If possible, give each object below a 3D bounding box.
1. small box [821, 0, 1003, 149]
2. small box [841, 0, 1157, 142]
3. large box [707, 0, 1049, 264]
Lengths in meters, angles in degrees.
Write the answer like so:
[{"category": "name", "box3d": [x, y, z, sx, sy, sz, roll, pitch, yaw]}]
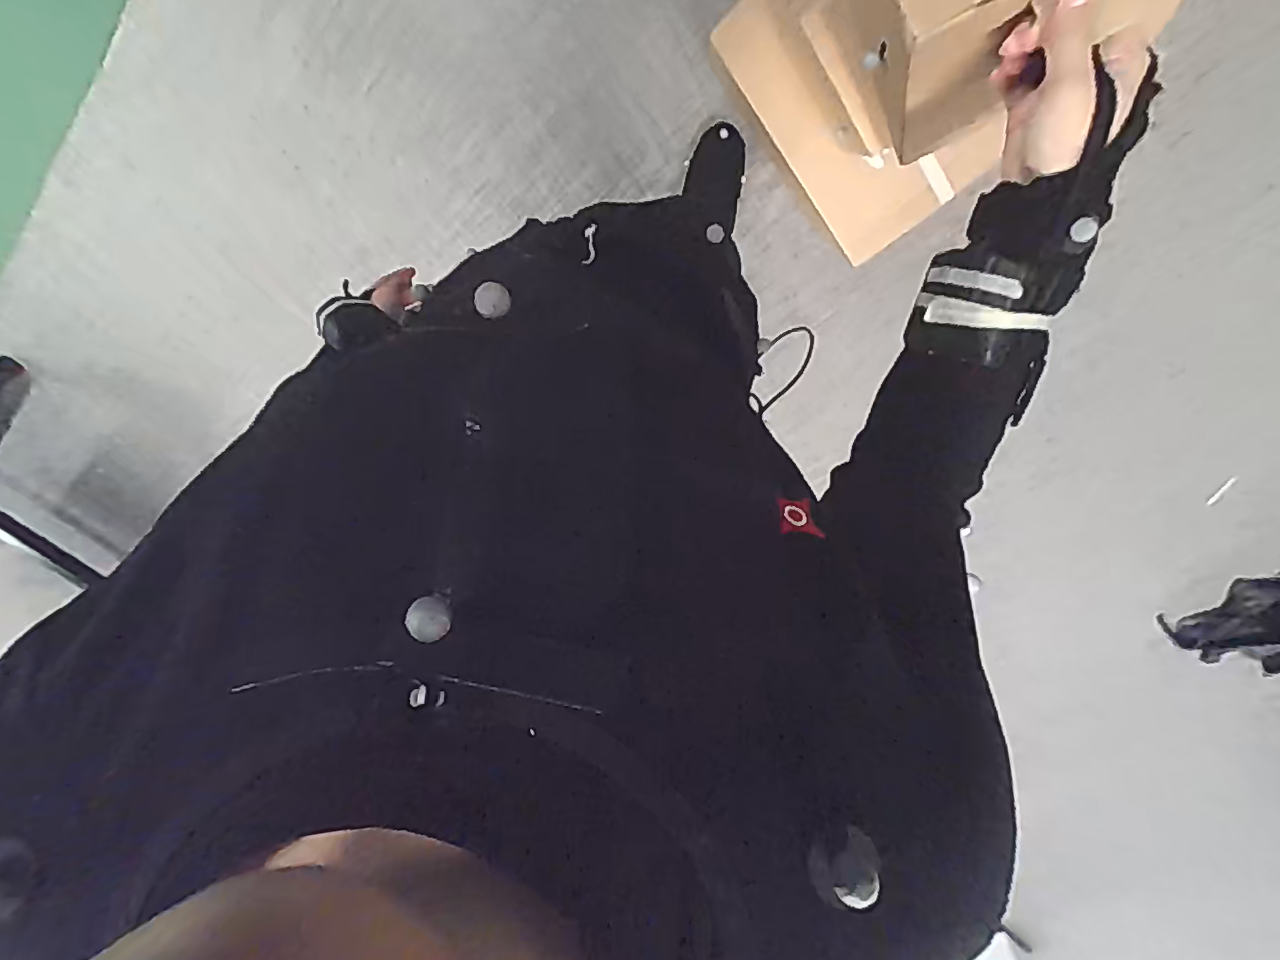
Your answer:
[{"category": "small box", "box3d": [0.299, -0.456, 0.526, 0.168, 0.176, 0.179, -30, 116, 23]}, {"category": "small box", "box3d": [0.223, -0.356, 0.344, 0.168, 0.176, 0.179, -18, 88, 25]}, {"category": "large box", "box3d": [0.353, -0.643, 0.885, 0.320, 0.320, 0.408, -34, 114, 25]}]
